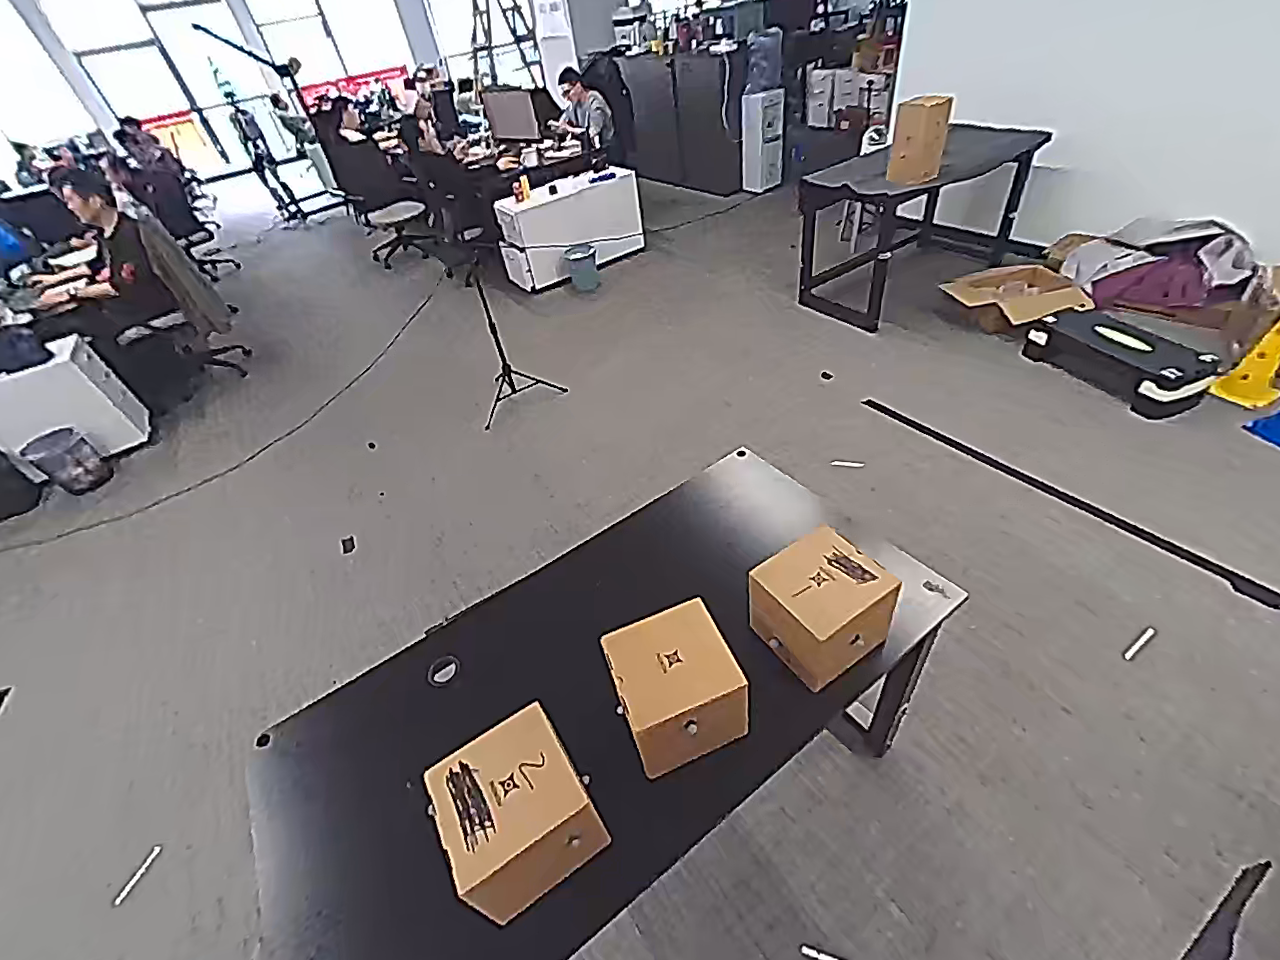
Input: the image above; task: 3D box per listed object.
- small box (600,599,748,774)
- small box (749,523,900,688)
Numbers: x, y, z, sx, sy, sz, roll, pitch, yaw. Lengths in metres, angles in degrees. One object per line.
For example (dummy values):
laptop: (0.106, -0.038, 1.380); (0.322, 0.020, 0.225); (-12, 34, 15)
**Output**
small box: (0.055, 0.326, 0.854); (0.179, 0.176, 0.168); (-21, 42, -10)
small box: (0.304, 0.212, 0.920); (0.179, 0.176, 0.168); (-29, 44, -18)
